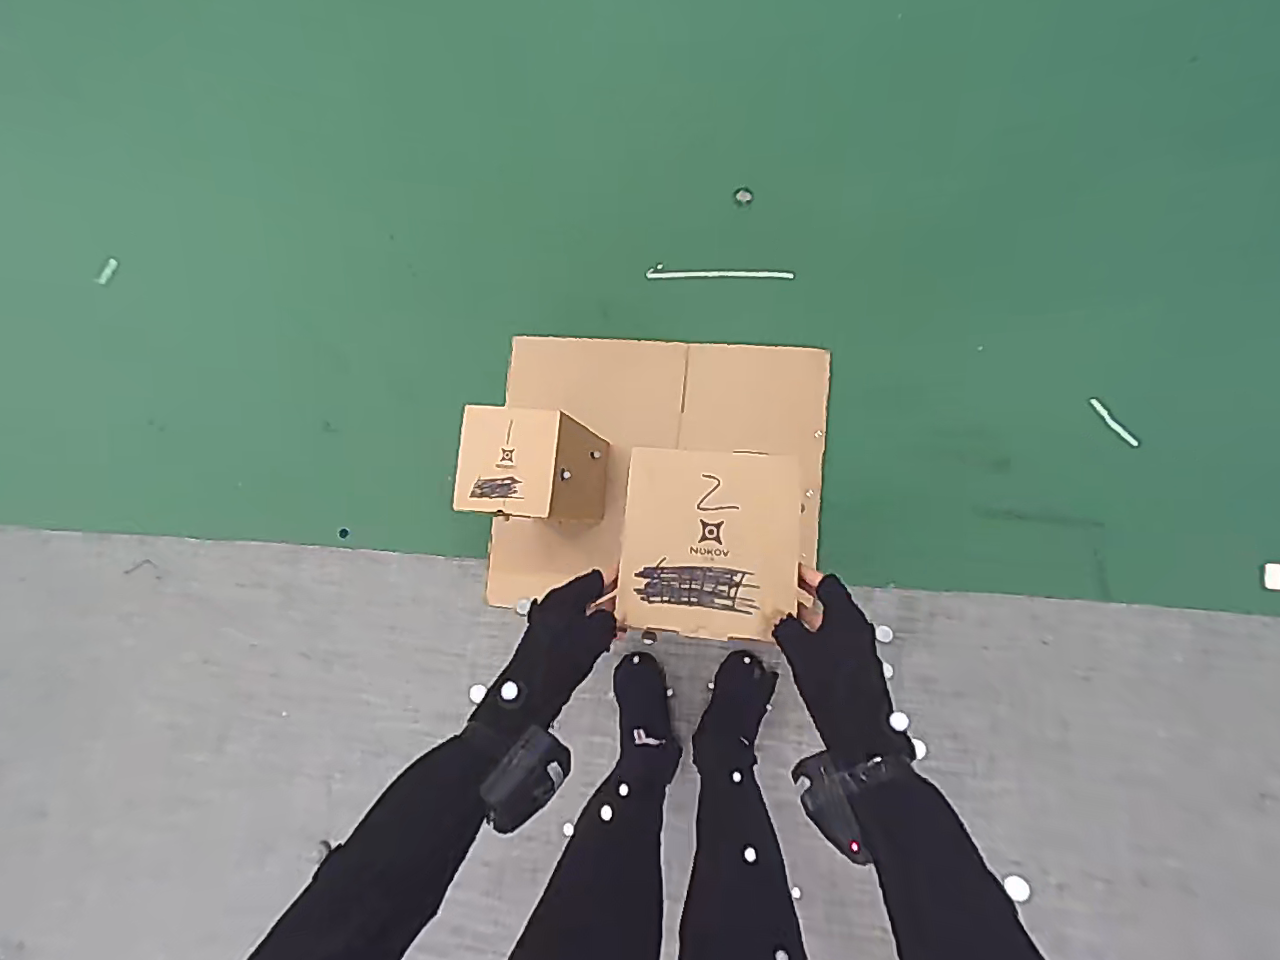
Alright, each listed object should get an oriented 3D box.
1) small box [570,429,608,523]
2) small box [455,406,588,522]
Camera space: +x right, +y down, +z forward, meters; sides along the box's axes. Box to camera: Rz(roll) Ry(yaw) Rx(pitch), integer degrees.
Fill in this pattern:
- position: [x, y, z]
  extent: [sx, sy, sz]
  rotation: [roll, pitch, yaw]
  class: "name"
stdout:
- position: [-0.165, -0.006, 1.097]
  extent: [0.168, 0.176, 0.179]
  rotation: [3, 86, 11]
  class: "small box"
- position: [-0.195, -0.021, 0.936]
  extent: [0.168, 0.176, 0.179]
  rotation: [5, 85, 11]
  class: "small box"
